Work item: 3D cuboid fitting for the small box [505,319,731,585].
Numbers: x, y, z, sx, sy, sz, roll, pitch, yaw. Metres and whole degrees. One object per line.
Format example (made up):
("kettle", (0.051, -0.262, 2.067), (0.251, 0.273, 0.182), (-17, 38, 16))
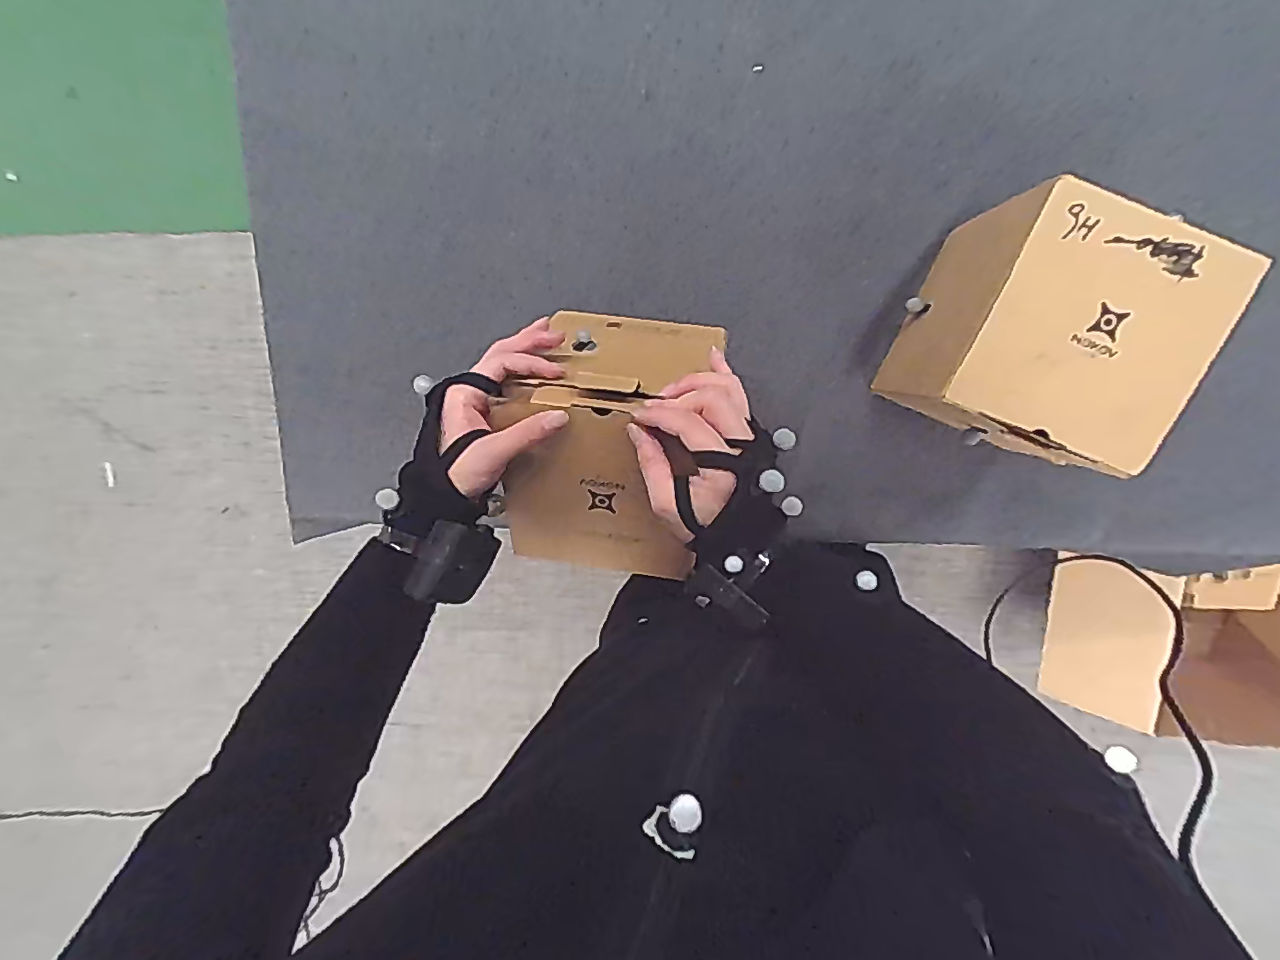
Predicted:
("small box", (-0.011, -0.034, 0.494), (0.168, 0.176, 0.179), (8, 126, 6))

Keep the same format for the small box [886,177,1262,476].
("small box", (0.350, -0.127, 0.487), (0.168, 0.176, 0.179), (23, 103, 0))
